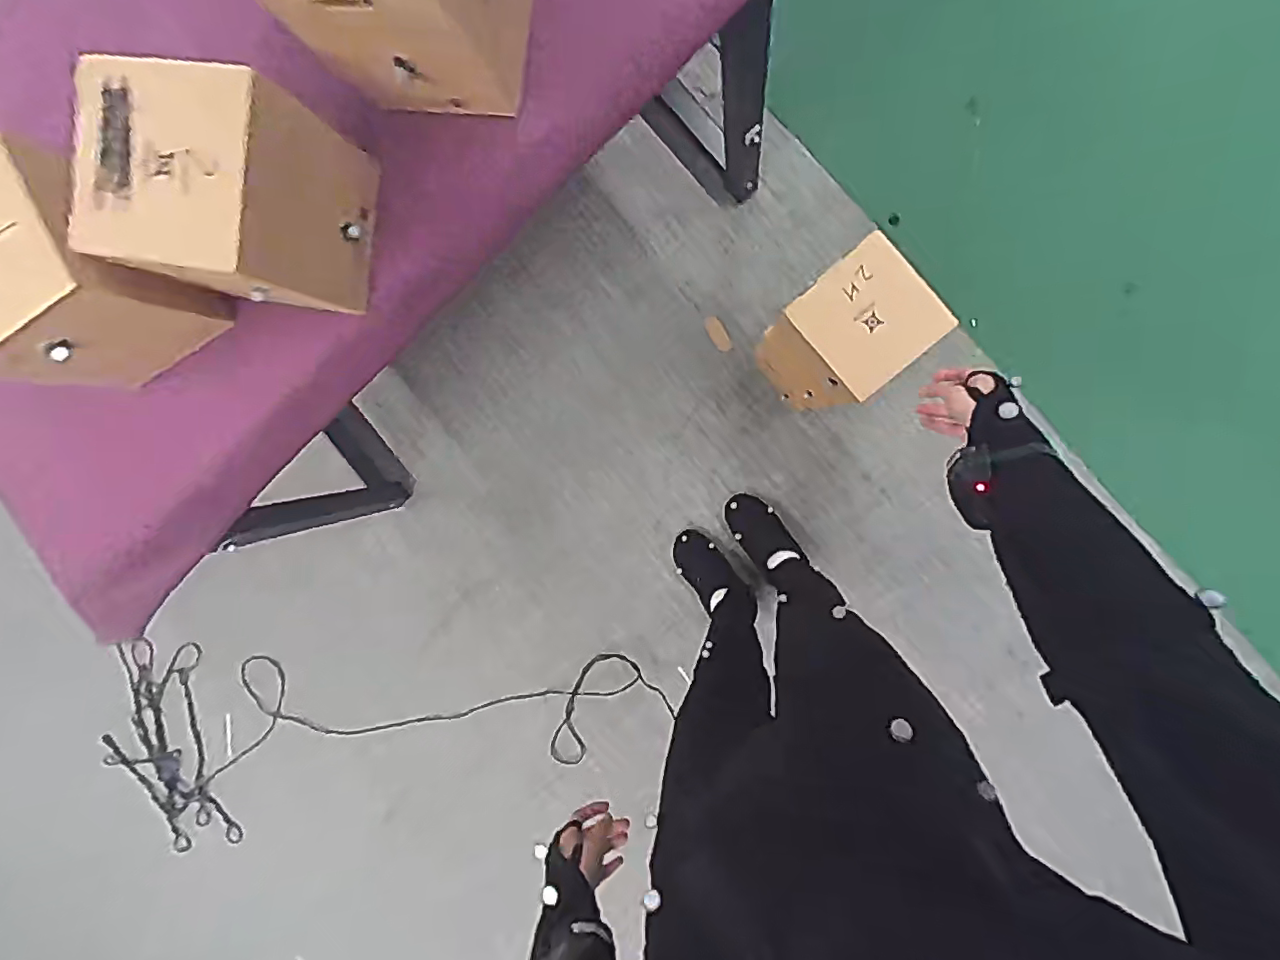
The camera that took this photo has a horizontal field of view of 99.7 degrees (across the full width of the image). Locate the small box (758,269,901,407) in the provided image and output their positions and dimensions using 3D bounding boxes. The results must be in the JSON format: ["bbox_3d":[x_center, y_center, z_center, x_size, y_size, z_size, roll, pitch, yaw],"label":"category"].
[{"bbox_3d":[0.334,-0.247,0.996,0.168,0.176,0.179,-41,89,11],"label":"small box"}]

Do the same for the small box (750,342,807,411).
[{"bbox_3d":[0.354,-0.261,1.156,0.179,0.176,0.168,-38,89,10],"label":"small box"}]

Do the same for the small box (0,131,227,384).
[{"bbox_3d":[-0.608,-0.215,0.580,0.179,0.176,0.168,-26,91,10],"label":"small box"}]

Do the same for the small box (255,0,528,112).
[{"bbox_3d":[-0.209,-0.467,0.487,0.168,0.176,0.179,9,97,9],"label":"small box"}]
